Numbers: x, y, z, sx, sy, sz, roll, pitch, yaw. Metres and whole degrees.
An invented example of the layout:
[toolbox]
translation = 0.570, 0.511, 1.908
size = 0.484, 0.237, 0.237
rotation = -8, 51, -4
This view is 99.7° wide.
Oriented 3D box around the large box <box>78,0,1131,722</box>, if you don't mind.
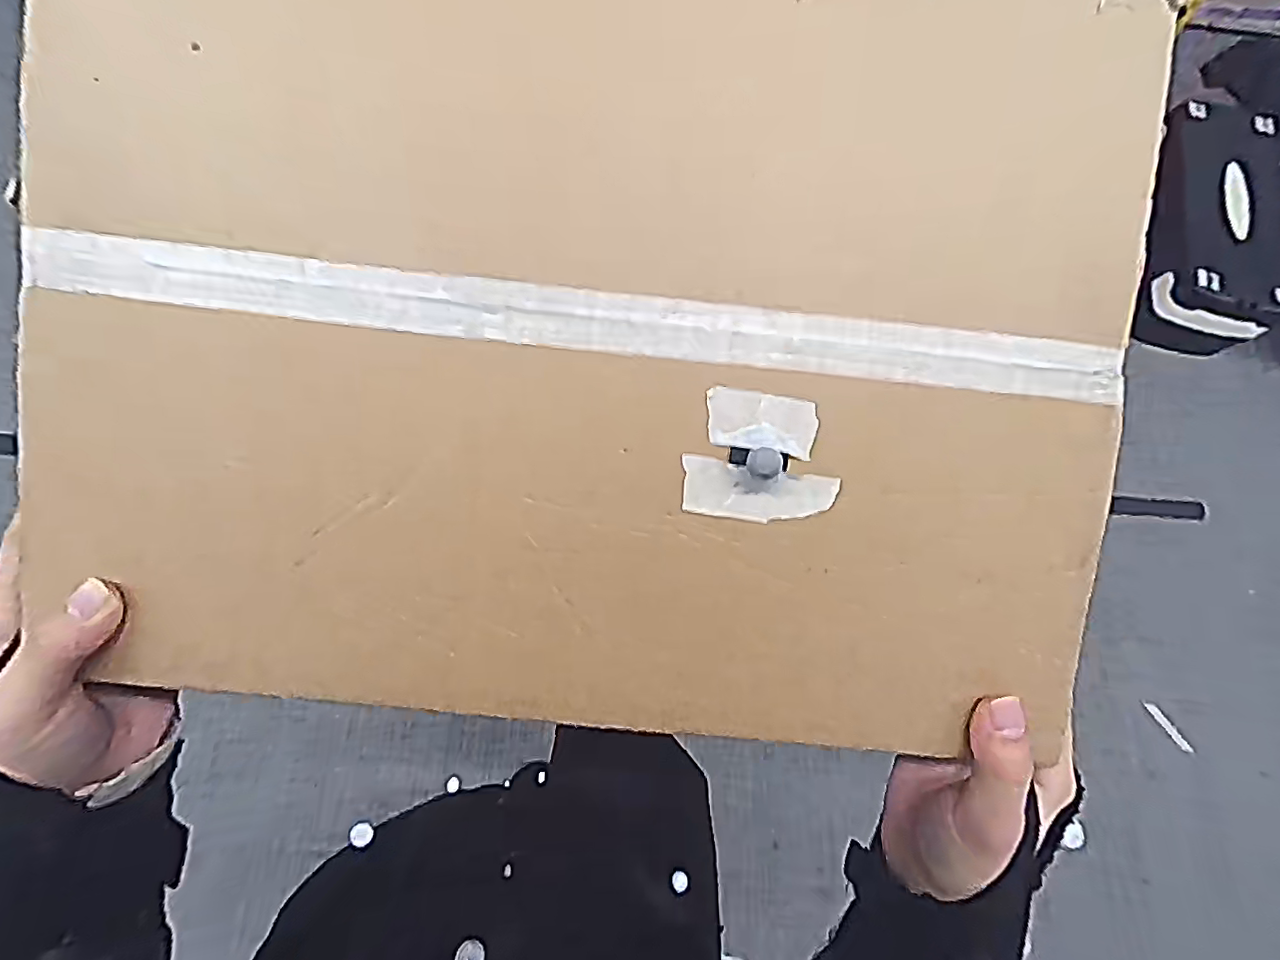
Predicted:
[large box]
translation = -0.019, -0.071, 0.364
size = 0.408, 0.320, 0.320
rotation = 6, 94, -3
